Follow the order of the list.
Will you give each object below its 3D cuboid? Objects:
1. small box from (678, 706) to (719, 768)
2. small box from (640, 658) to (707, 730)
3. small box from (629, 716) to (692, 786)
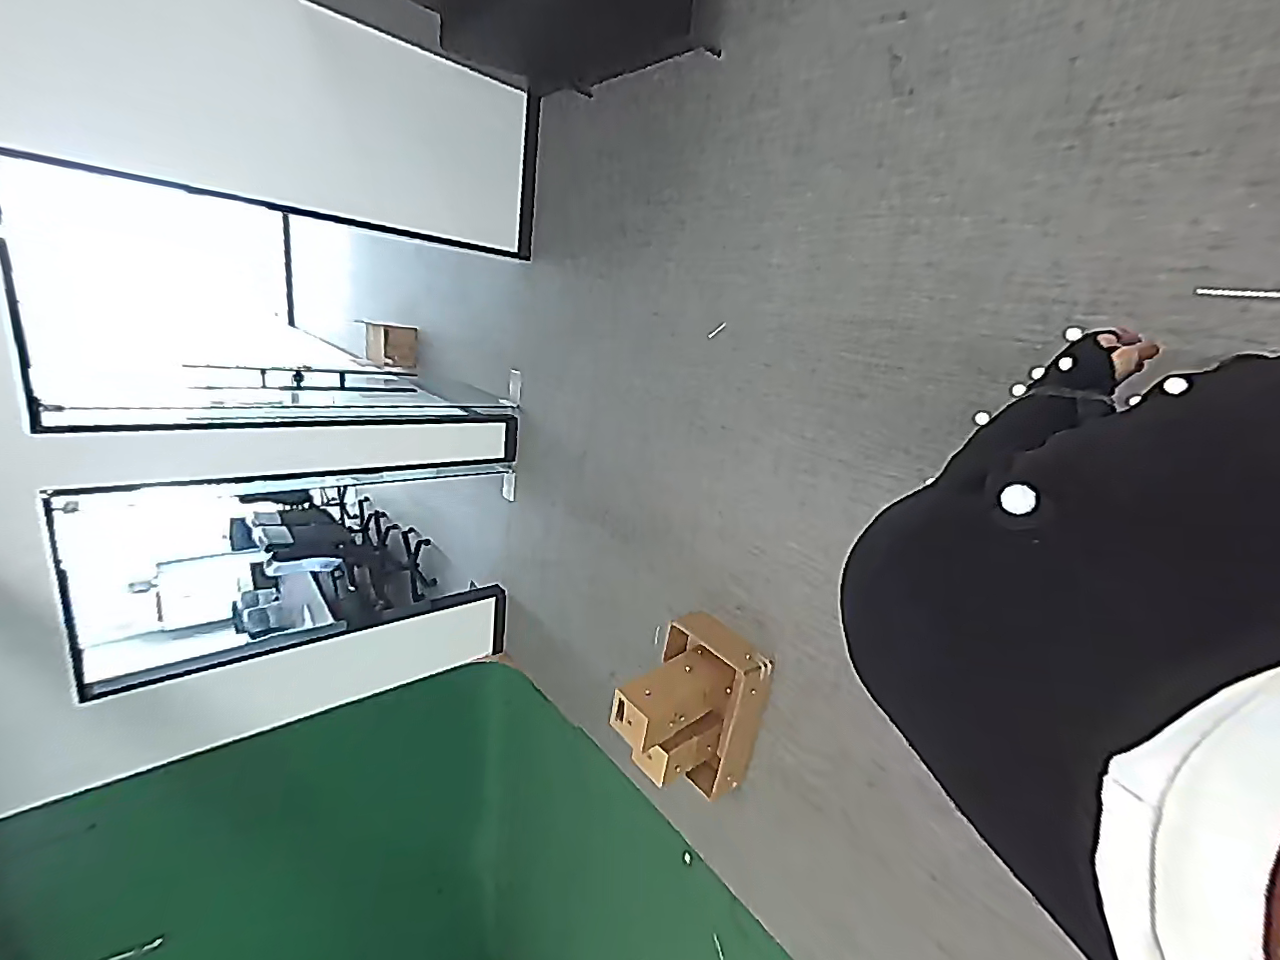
[{"bbox_3d":[0.201,1.036,2.232,0.179,0.176,0.168,27,113,43],"label":"small box"},{"bbox_3d":[0.126,0.798,2.043,0.179,0.176,0.168,26,116,44],"label":"small box"},{"bbox_3d":[0.083,1.046,2.122,0.179,0.176,0.168,25,113,44],"label":"small box"}]
